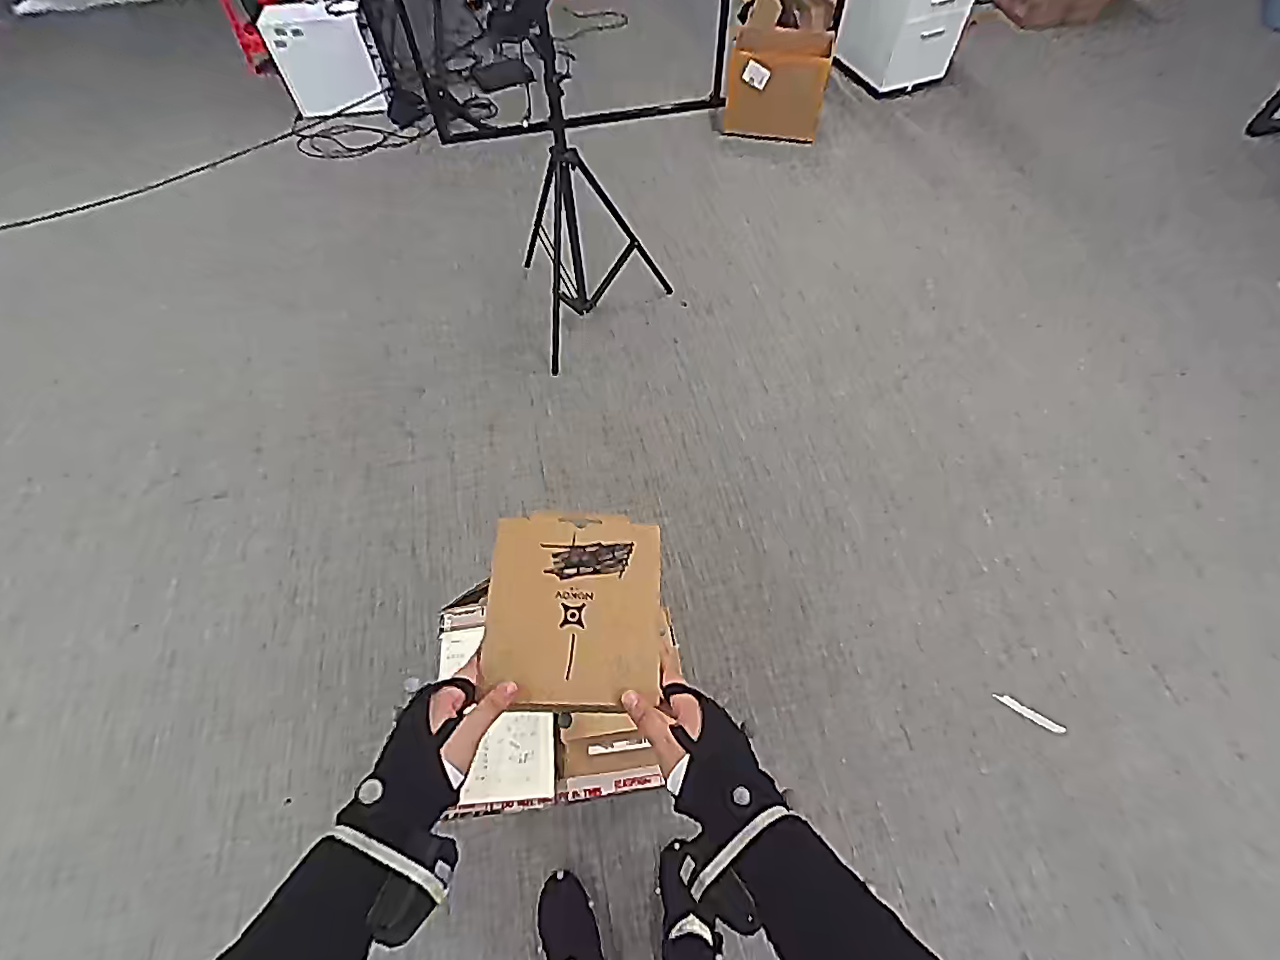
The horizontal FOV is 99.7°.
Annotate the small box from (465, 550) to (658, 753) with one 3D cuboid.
[{"bbox_3d":[-0.073,0.185,0.565,0.168,0.176,0.179,3,65,-5],"label":"small box"}]

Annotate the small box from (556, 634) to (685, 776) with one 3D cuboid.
[{"bbox_3d":[-0.037,0.347,0.827,0.179,0.176,0.168,-7,60,-5],"label":"small box"}]
